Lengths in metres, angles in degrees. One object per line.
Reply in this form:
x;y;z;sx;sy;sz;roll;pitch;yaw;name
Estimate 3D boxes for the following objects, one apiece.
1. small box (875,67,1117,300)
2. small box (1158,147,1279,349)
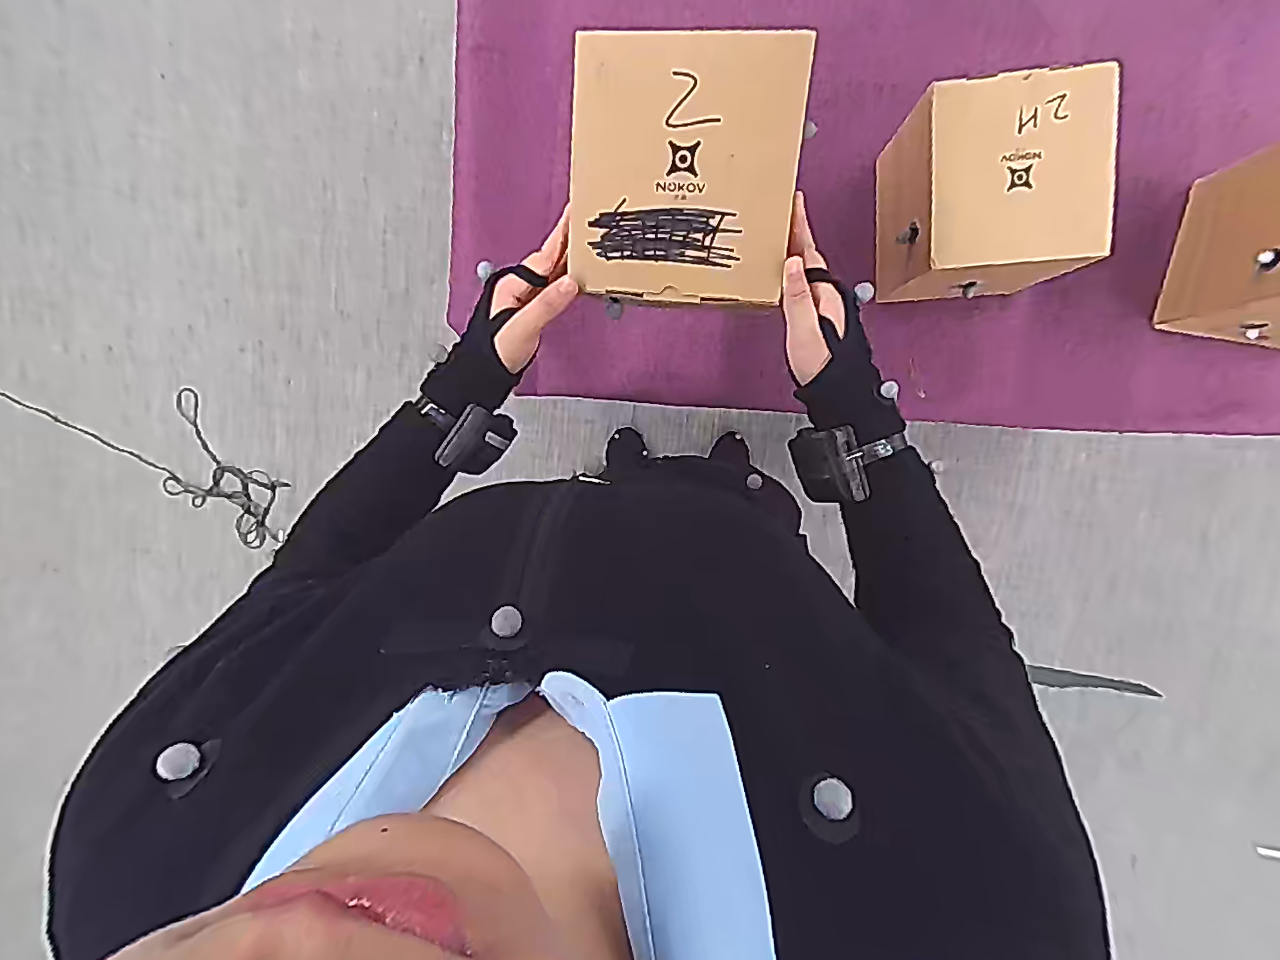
0.370;-0.303;0.596;0.168;0.176;0.179;-2;96;6;small box
0.710;-0.249;0.567;0.168;0.176;0.179;11;97;5;small box
